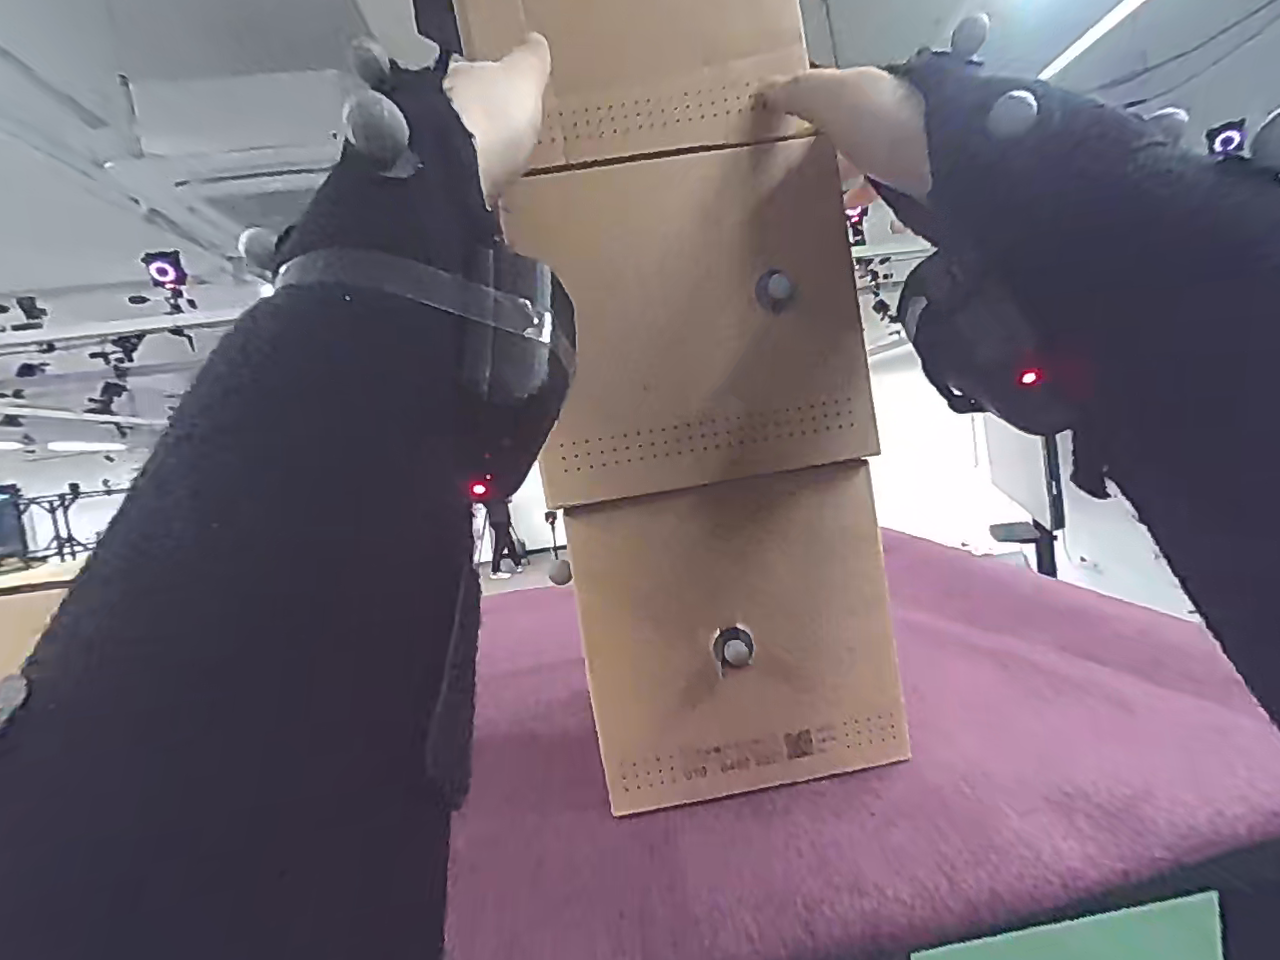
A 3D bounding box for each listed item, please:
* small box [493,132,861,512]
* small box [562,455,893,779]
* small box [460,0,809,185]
[{"bbox_3d":[0.023,-0.081,0.346,0.179,0.176,0.168,-10,2,-3],"label":"small box"},{"bbox_3d":[0.048,0.078,0.369,0.168,0.176,0.179,-8,3,-3],"label":"small box"},{"bbox_3d":[-0.008,-0.241,0.348,0.179,0.176,0.168,-9,2,-1],"label":"small box"}]
